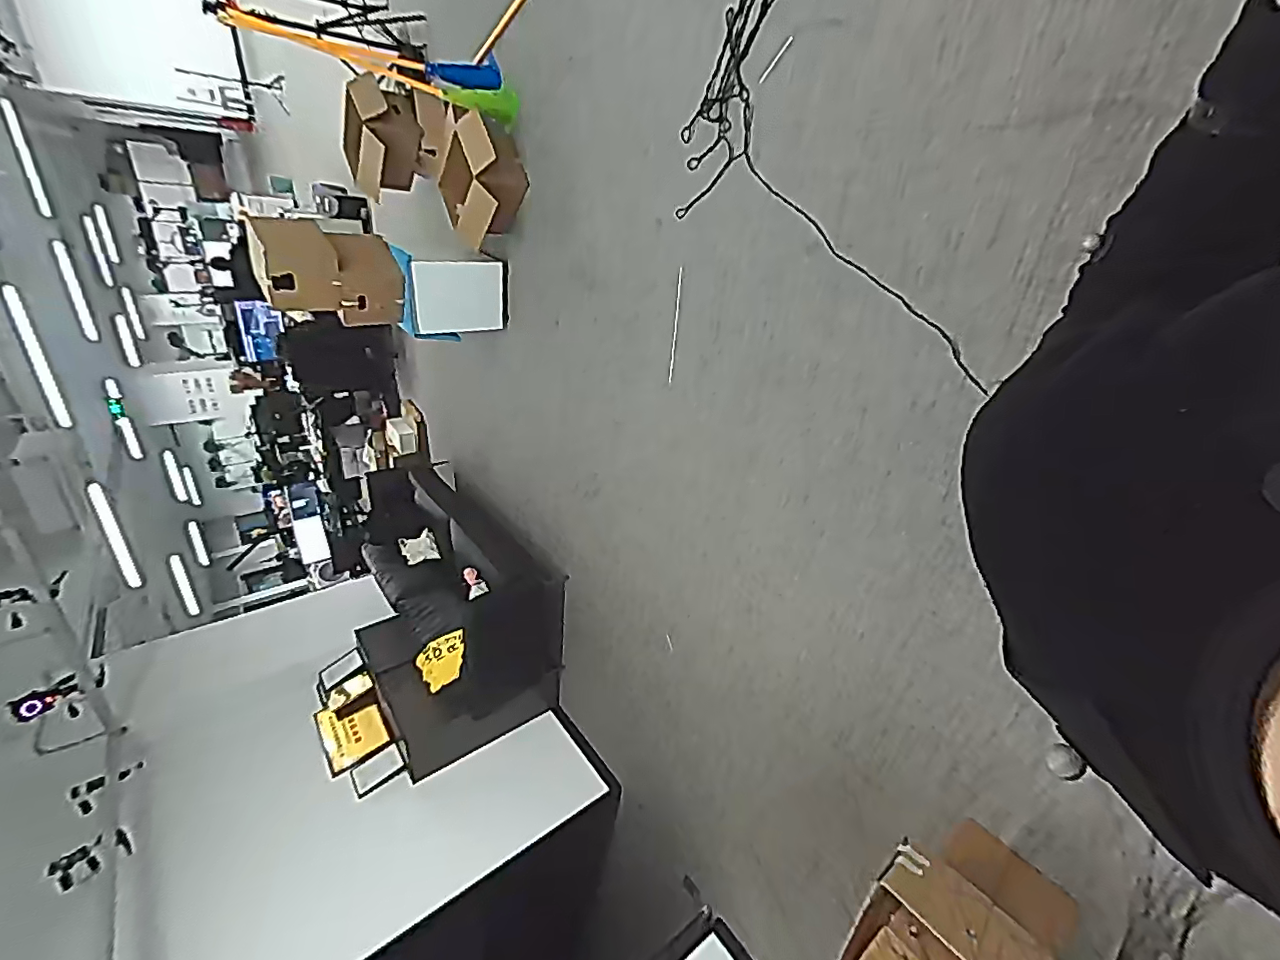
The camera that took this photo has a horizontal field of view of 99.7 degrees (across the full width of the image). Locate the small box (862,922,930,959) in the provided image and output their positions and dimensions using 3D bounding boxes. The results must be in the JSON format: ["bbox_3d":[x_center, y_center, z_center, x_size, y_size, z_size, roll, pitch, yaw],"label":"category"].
[{"bbox_3d":[0.578,1.161,1.214,0.168,0.176,0.179,30,125,44],"label":"small box"}]
